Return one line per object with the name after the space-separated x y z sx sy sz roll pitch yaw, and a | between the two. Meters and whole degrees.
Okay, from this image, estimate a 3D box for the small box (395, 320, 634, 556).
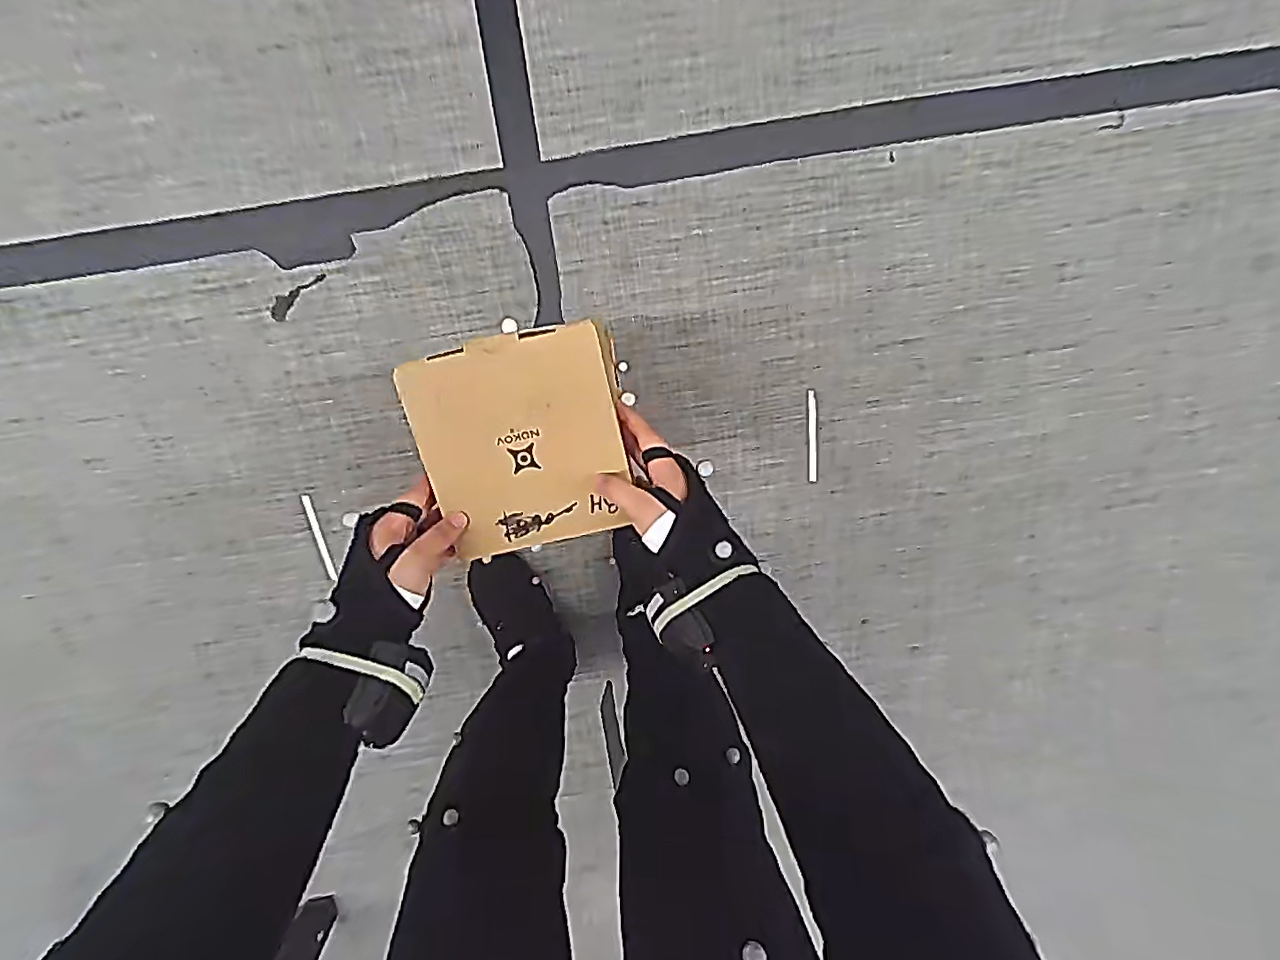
-0.105 -0.051 0.531 0.168 0.176 0.179 -12 106 1 | small box
